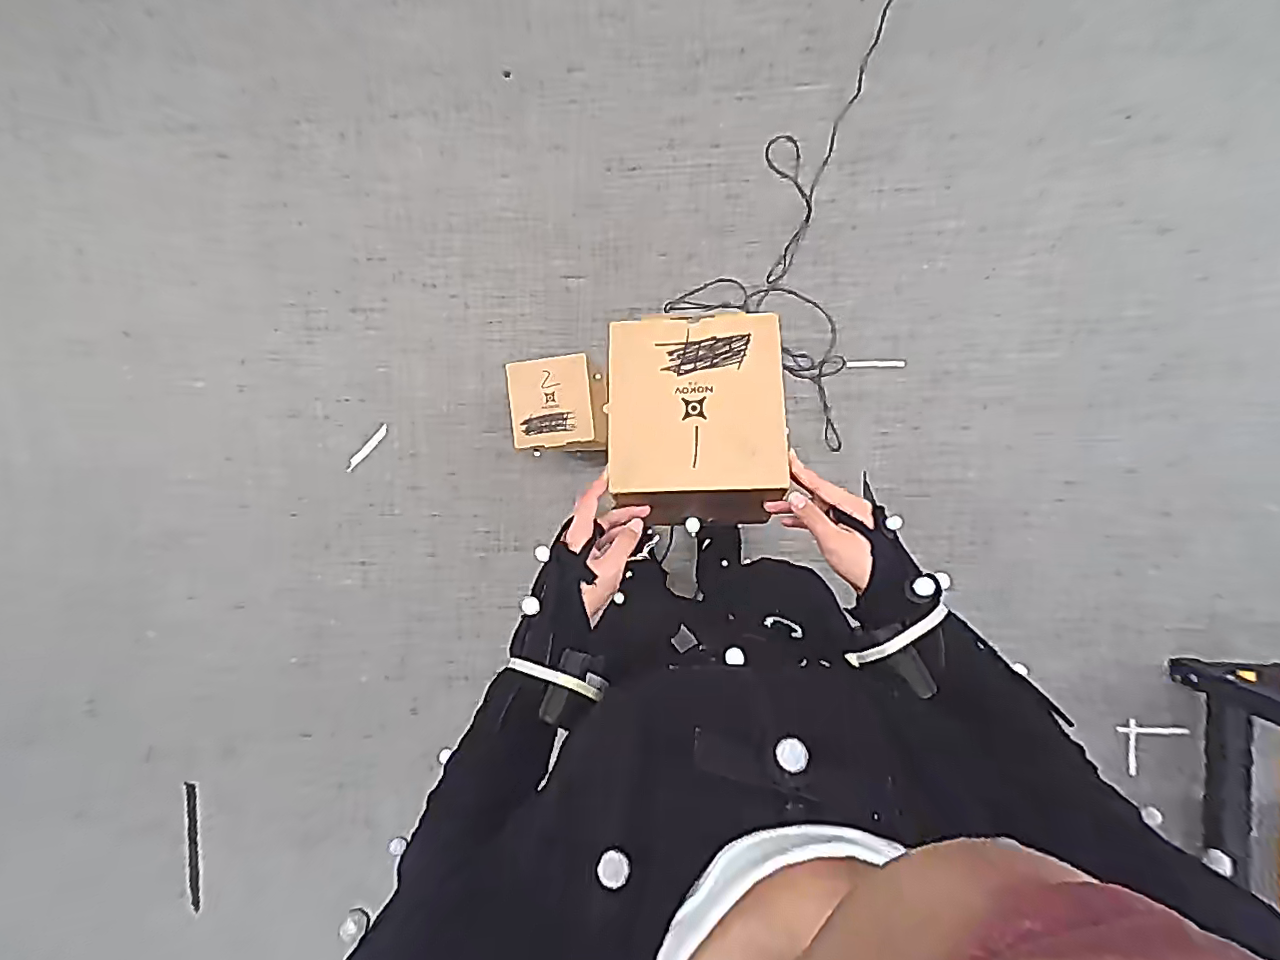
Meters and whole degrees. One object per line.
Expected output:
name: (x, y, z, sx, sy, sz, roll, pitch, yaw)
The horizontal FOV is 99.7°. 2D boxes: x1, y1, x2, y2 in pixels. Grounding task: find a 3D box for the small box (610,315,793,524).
small box: (0.063, -0.054, 0.581, 0.168, 0.176, 0.179, -1, 75, 6)
